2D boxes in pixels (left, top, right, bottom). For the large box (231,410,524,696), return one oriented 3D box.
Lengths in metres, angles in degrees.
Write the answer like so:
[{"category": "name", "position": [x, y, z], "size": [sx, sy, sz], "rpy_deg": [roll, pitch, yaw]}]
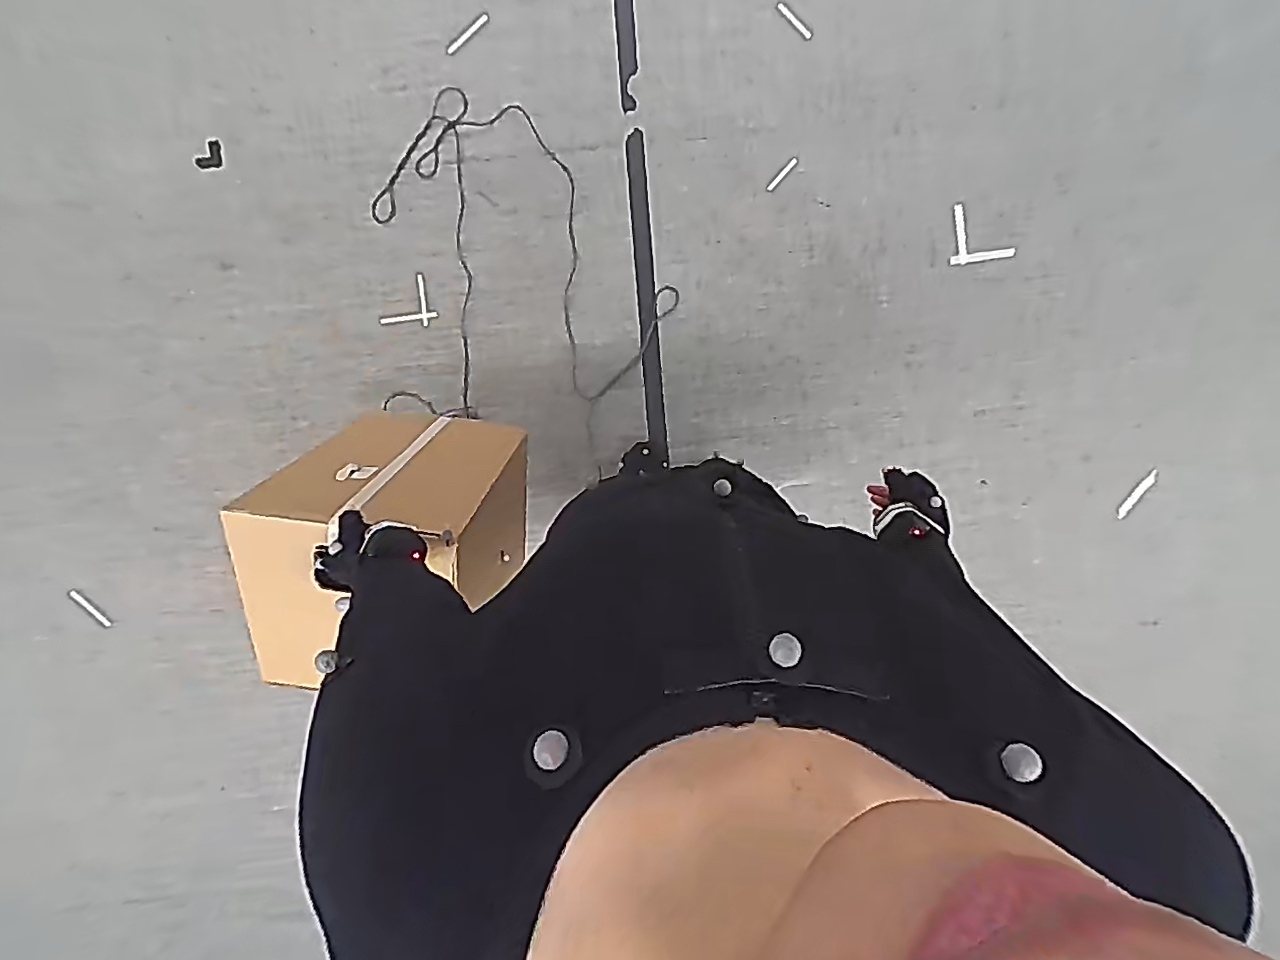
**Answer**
[{"category": "large box", "position": [-0.406, 0.104, 0.962], "size": [0.320, 0.408, 0.320], "rpy_deg": [7, 118, 0]}]
